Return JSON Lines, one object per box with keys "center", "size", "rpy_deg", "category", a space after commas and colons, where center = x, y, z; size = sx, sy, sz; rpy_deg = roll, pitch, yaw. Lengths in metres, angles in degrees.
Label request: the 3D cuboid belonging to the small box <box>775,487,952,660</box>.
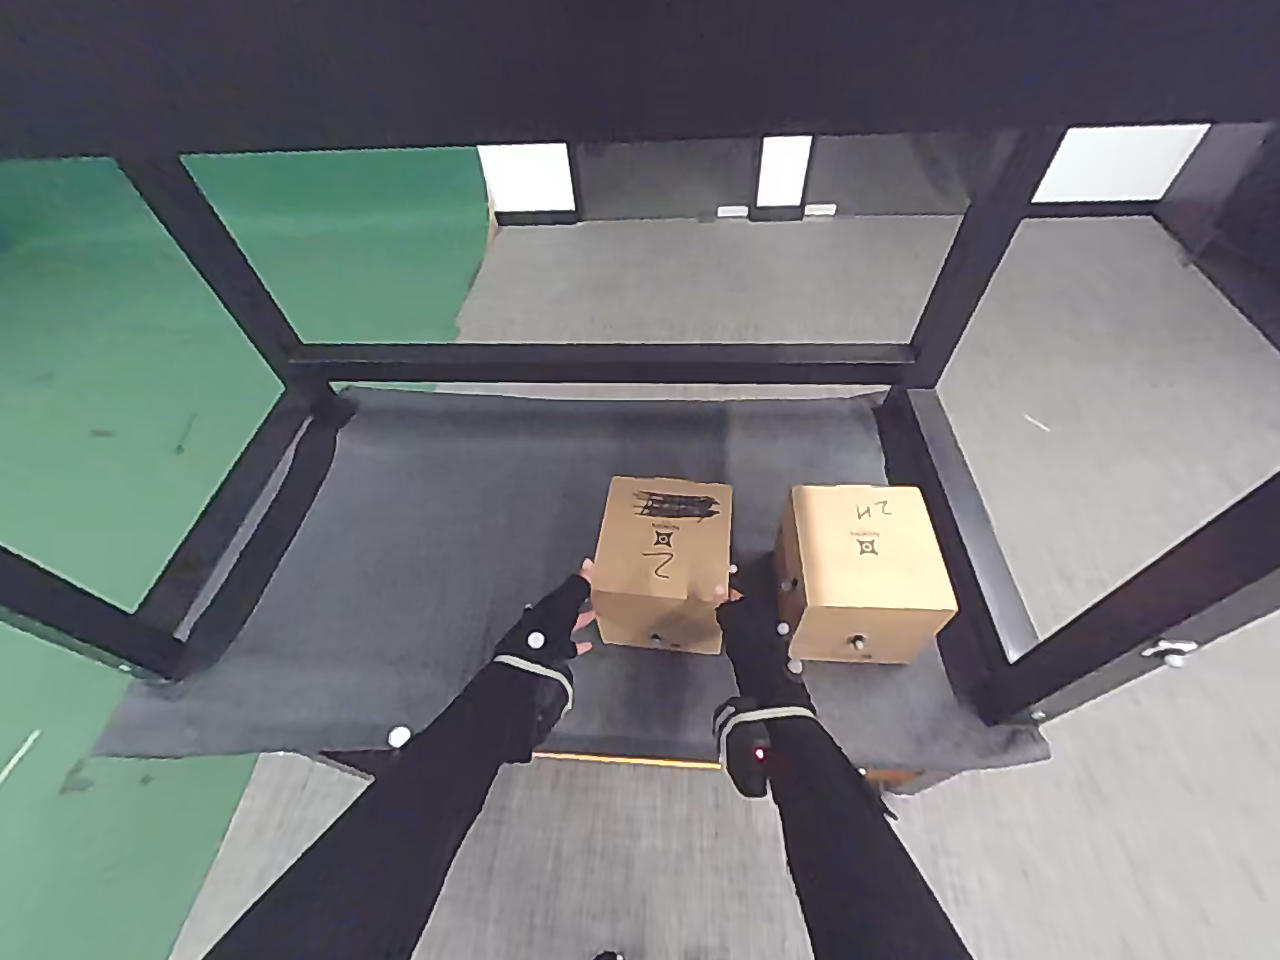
{"center": [0.279, 0.128, 0.722], "size": [0.168, 0.176, 0.179], "rpy_deg": [1, 51, 5], "category": "small box"}
